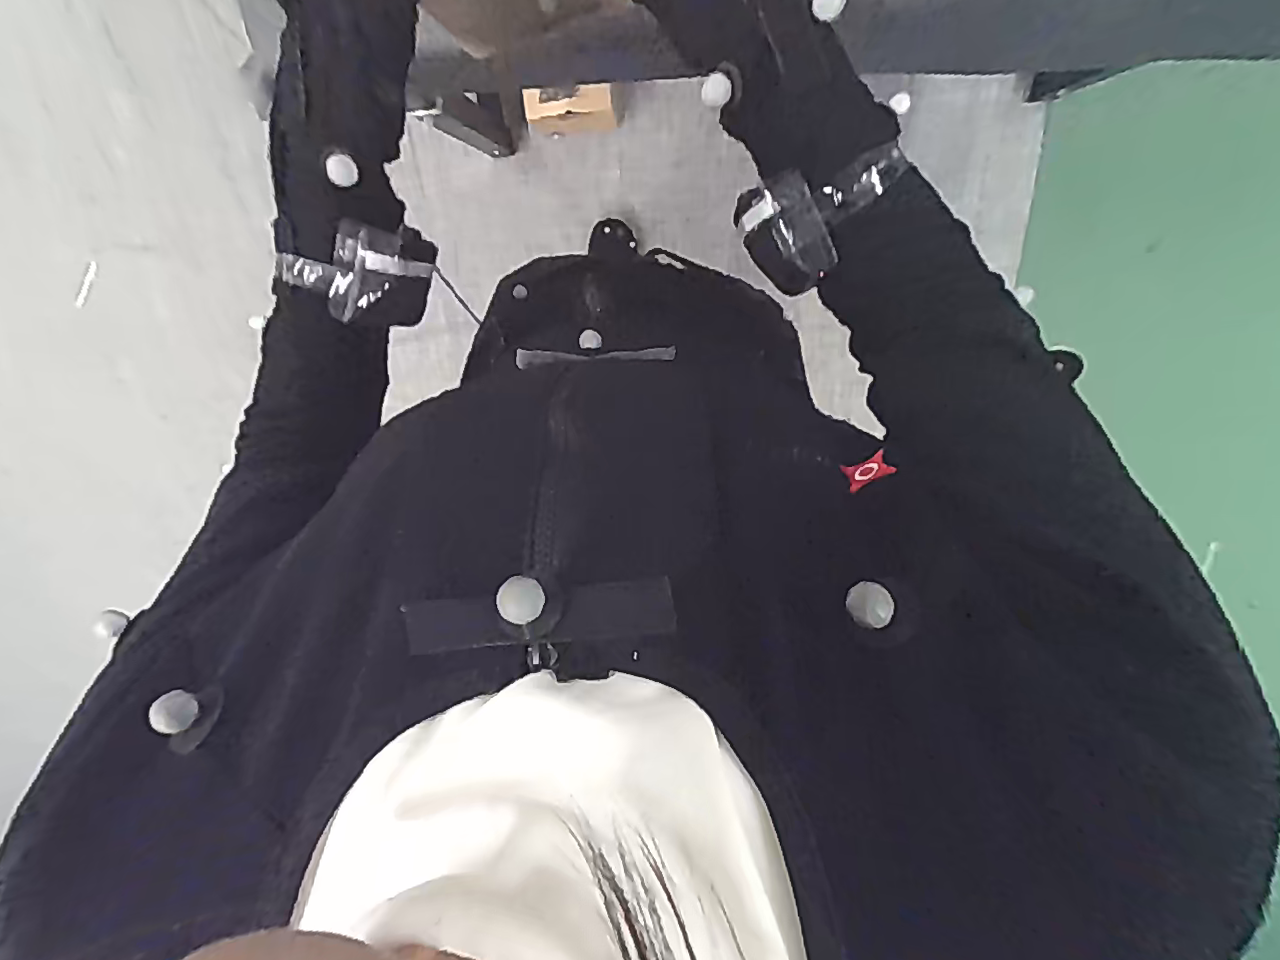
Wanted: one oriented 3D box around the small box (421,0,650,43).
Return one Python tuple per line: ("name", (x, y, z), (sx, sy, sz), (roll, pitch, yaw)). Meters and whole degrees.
("small box", (-0.081, -0.409, 0.332), (0.168, 0.176, 0.179), (-9, 111, 10))
